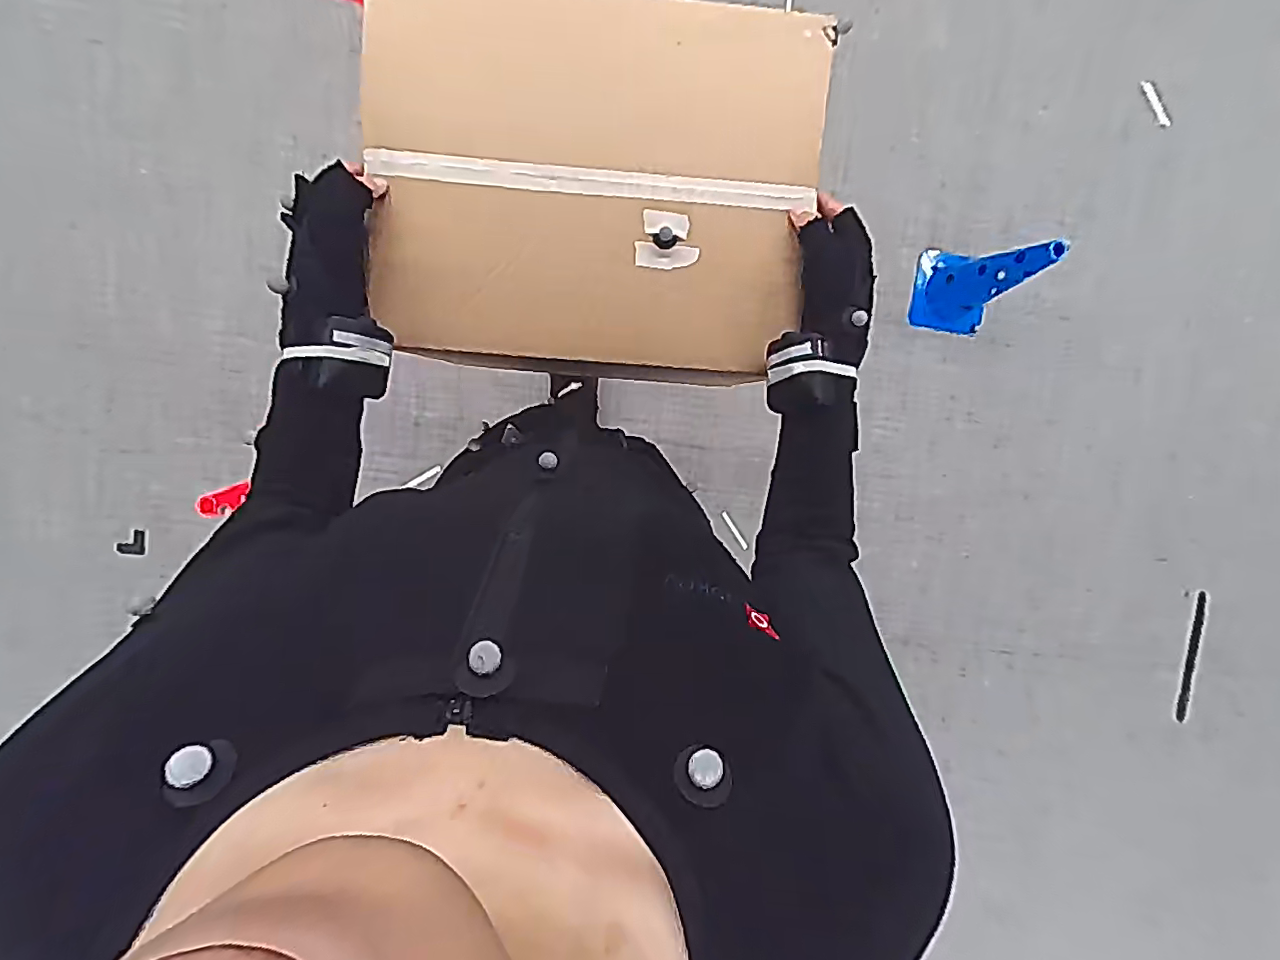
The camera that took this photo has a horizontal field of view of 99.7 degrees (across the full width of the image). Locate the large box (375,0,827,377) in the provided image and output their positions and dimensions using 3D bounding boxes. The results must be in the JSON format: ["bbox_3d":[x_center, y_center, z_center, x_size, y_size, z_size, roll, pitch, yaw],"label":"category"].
[{"bbox_3d":[-0.047,-0.296,0.639,0.408,0.320,0.320,4,98,-4],"label":"large box"}]

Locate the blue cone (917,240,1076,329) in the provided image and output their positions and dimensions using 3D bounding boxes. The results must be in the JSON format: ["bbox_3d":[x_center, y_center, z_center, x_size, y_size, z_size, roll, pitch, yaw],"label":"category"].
[{"bbox_3d":[0.853,-0.493,1.287,0.192,0.380,0.193,10,95,-5],"label":"blue cone"}]
